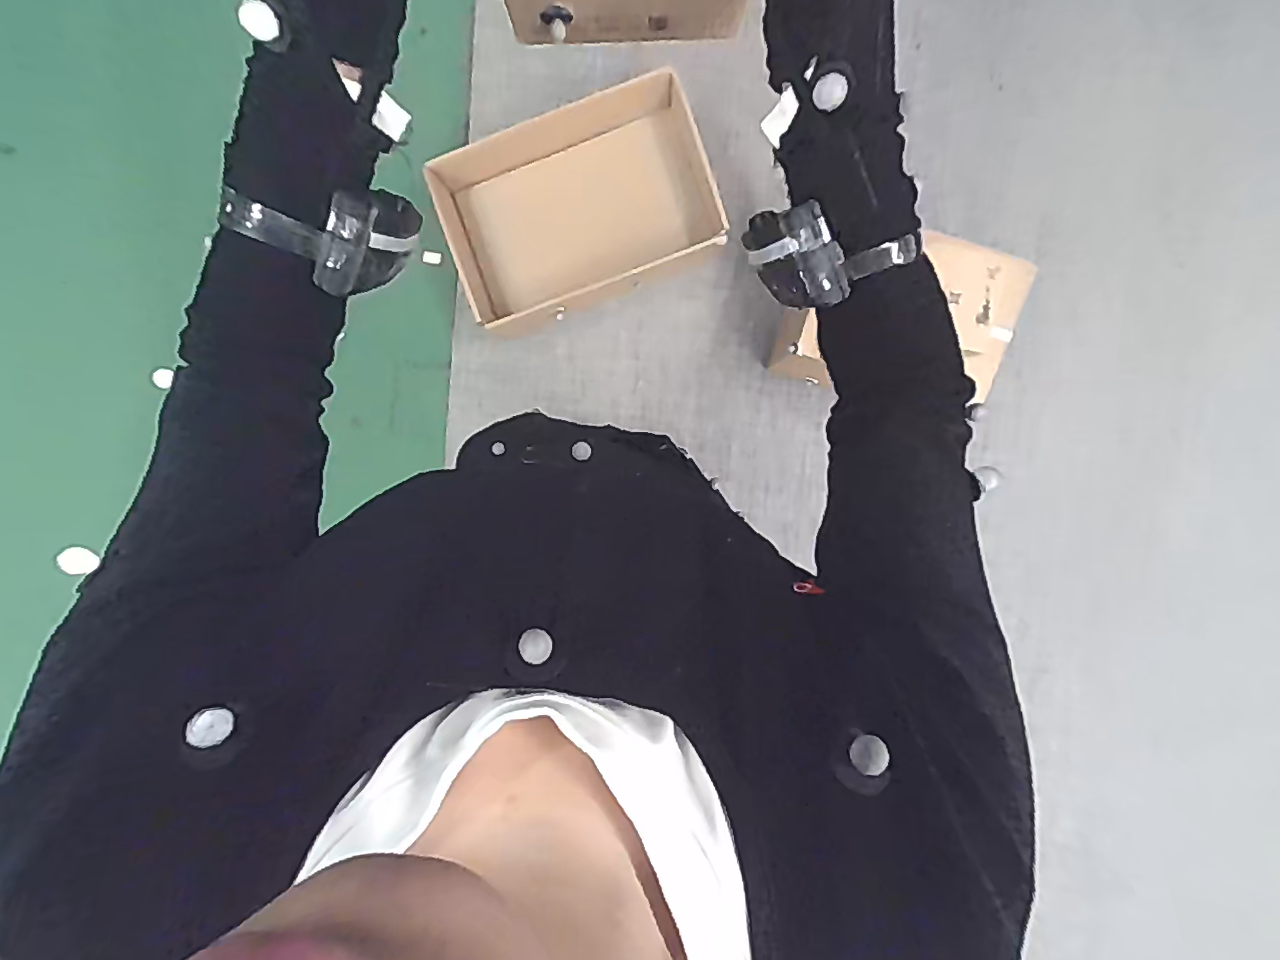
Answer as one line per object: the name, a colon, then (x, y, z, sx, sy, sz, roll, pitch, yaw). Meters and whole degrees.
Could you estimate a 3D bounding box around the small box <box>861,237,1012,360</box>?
small box: (0.539, -0.329, 1.011, 0.179, 0.176, 0.168, 12, 96, 2)

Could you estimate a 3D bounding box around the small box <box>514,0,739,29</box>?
small box: (-0.013, -0.400, 0.308, 0.168, 0.176, 0.179, -2, 98, 0)
